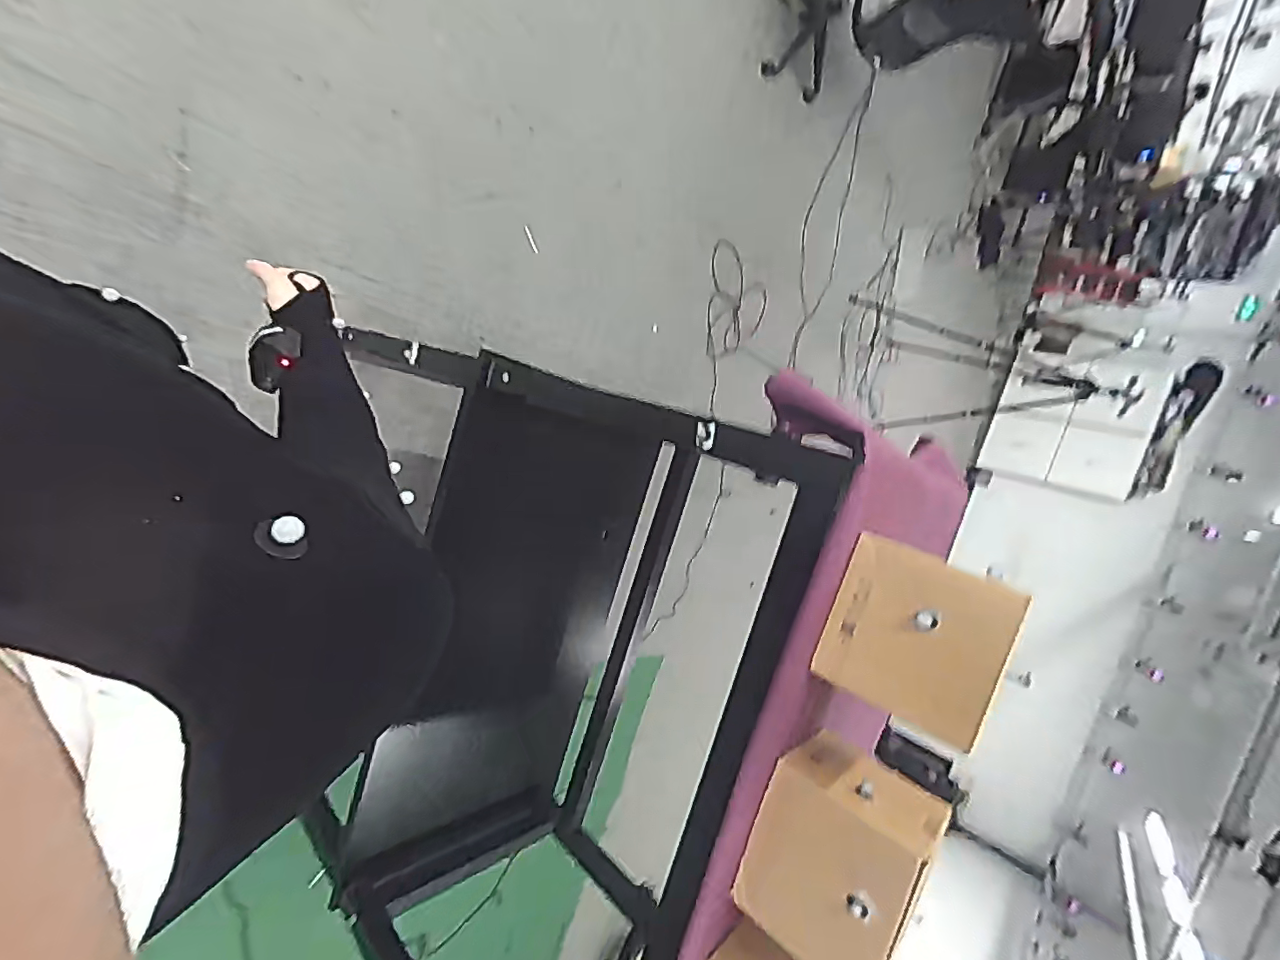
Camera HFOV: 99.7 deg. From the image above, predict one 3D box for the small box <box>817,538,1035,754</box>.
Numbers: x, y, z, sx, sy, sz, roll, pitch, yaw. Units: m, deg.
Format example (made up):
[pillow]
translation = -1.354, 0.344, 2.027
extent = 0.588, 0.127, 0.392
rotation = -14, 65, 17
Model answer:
[small box]
translation = 0.325, 0.174, 0.619
extent = 0.179, 0.176, 0.168
rotation = 17, 93, -53
